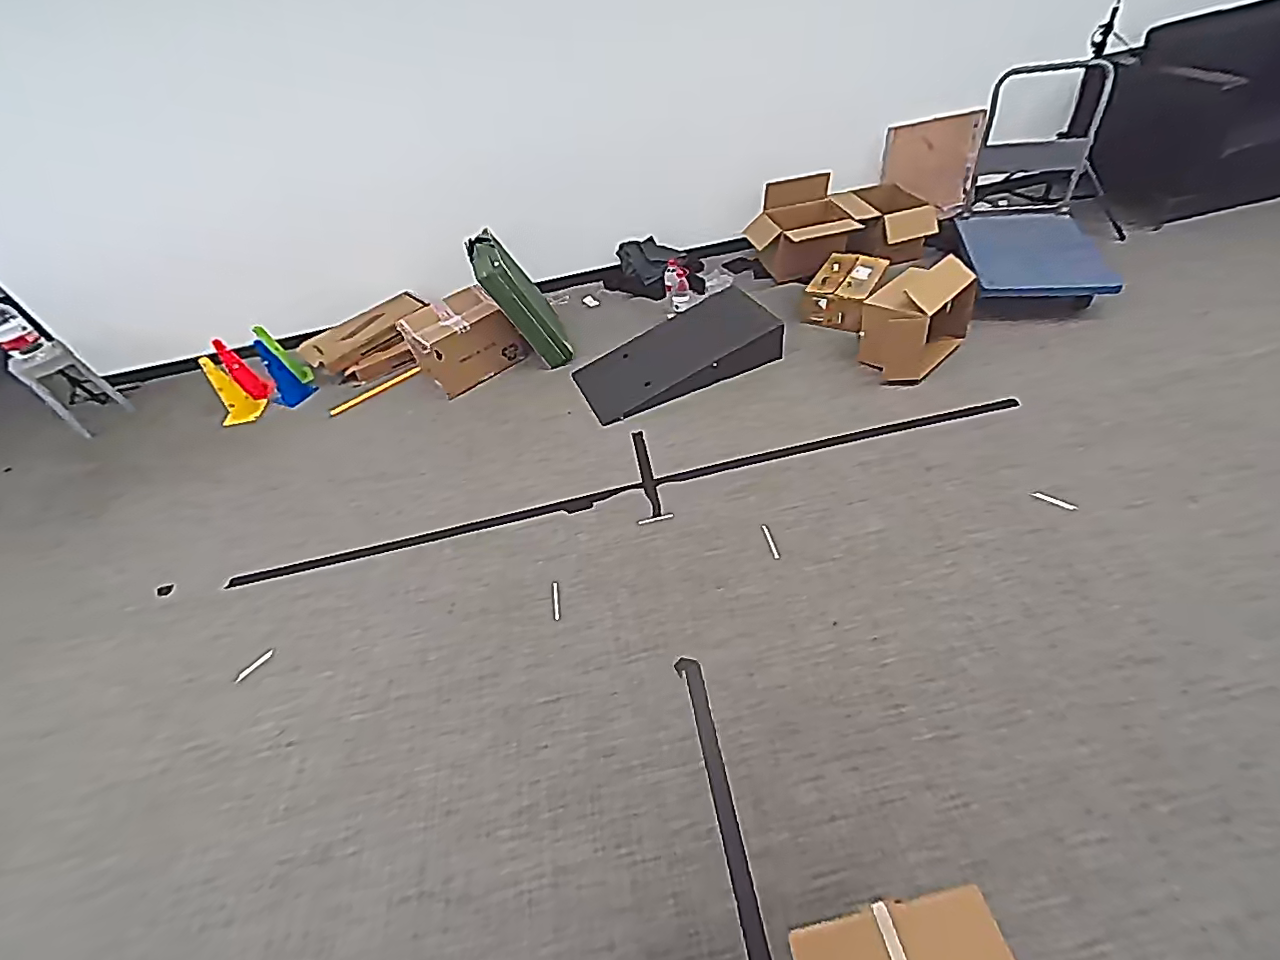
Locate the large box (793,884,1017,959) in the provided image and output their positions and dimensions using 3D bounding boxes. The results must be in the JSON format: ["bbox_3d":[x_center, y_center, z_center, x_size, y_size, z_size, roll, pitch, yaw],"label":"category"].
[{"bbox_3d":[0.462,0.917,0.837,0.320,0.320,0.408,-18,47,5],"label":"large box"}]
